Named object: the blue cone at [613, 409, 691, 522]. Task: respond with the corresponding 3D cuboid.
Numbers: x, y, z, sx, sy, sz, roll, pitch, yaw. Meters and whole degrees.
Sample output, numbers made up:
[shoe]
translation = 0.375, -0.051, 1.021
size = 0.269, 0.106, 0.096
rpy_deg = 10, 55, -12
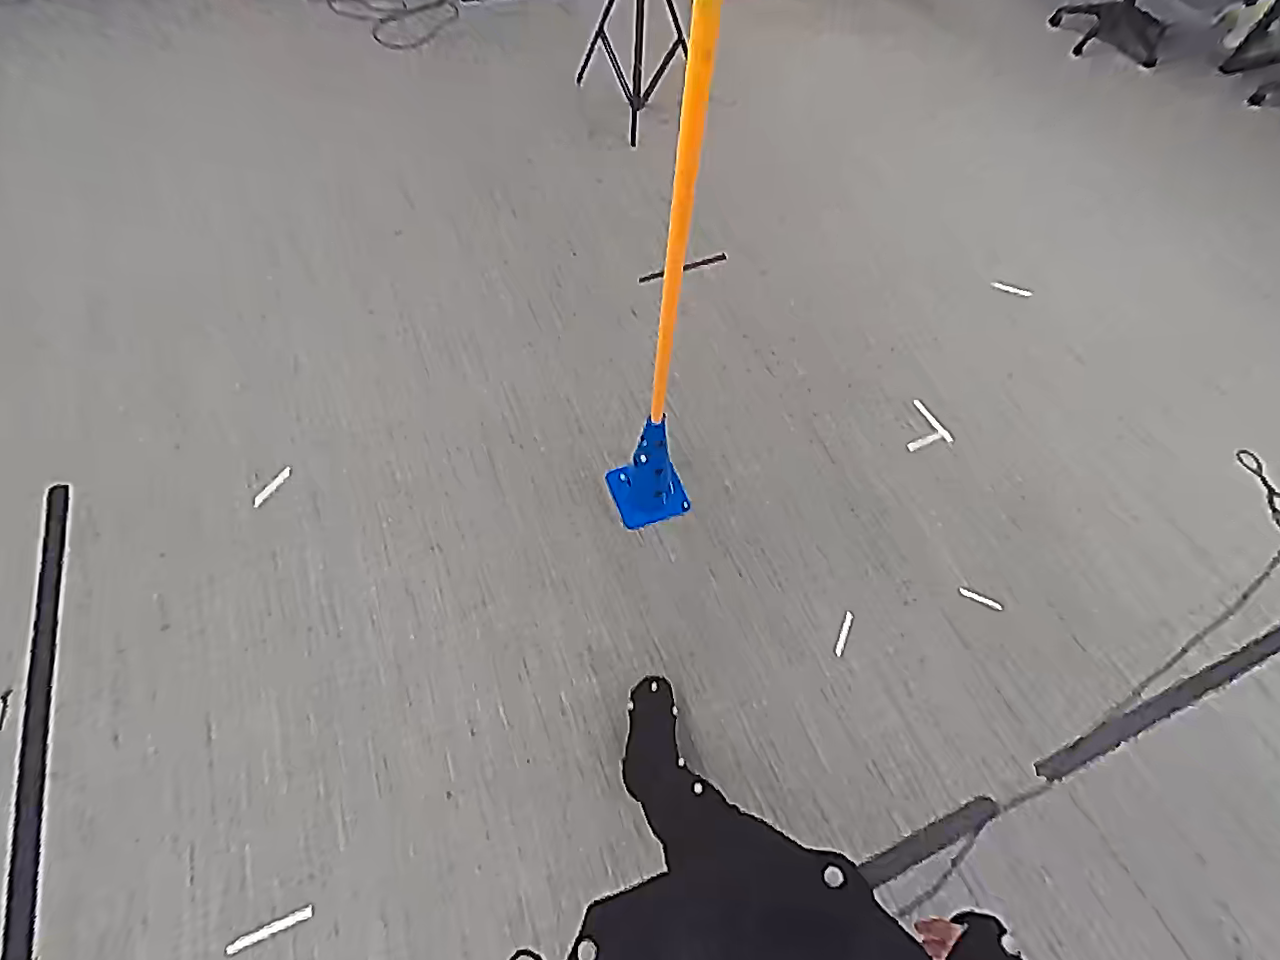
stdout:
[blue cone]
translation = 0.038, -0.056, 1.403
size = 0.192, 0.380, 0.193
rpy_deg = -16, 63, -12
